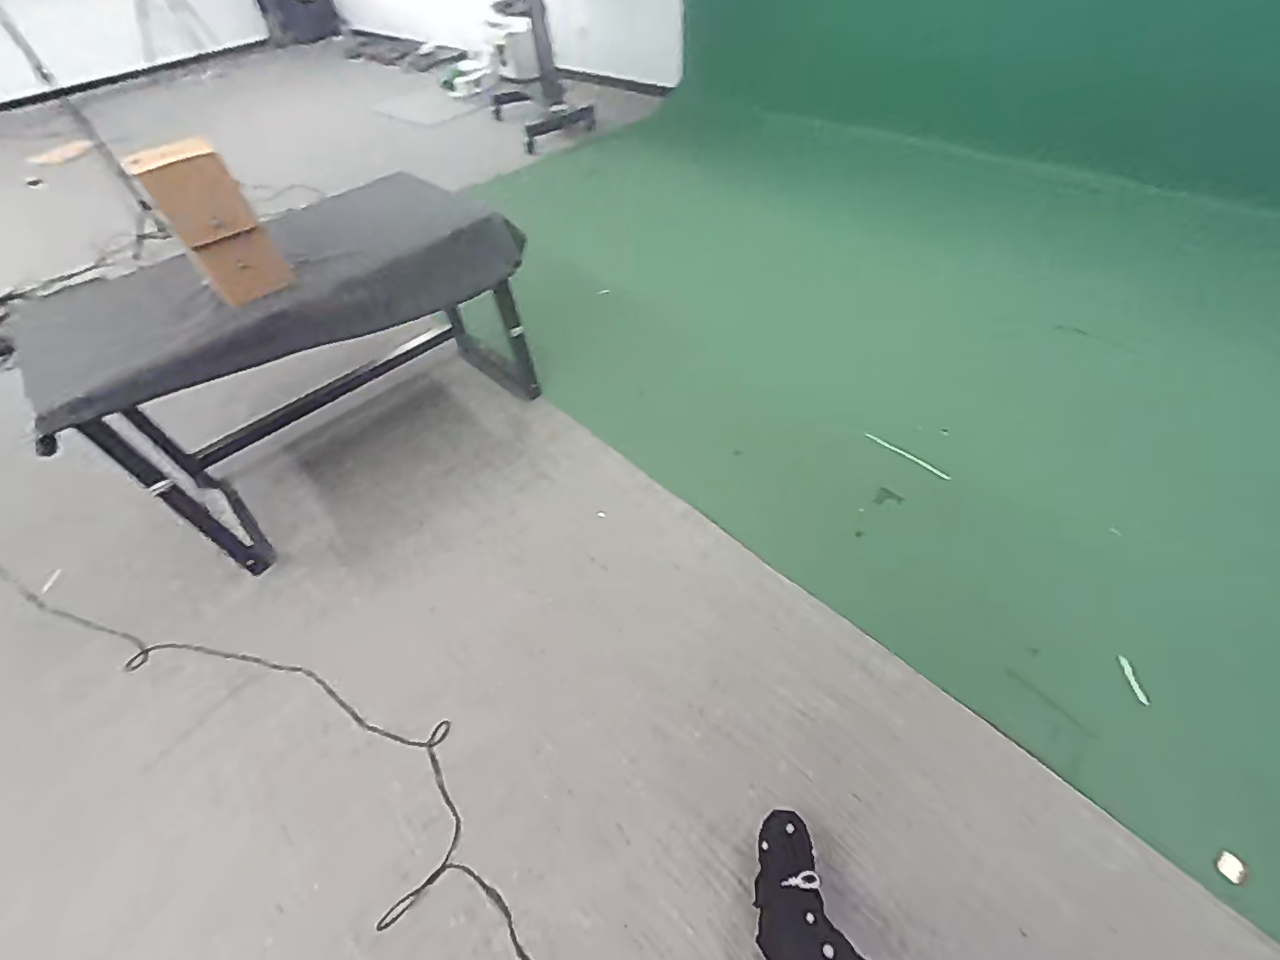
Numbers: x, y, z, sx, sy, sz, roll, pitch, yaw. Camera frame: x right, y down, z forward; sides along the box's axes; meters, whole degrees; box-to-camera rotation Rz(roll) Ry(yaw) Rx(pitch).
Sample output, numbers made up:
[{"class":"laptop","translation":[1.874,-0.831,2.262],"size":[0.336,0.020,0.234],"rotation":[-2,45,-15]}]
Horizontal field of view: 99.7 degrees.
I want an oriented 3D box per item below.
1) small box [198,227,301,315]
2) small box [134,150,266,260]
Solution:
[{"class":"small box","translation":[-1.040,-0.568,1.433],"size":[0.179,0.176,0.168],"rotation":[-38,55,-23]},{"class":"small box","translation":[-1.043,-0.661,1.301],"size":[0.179,0.176,0.168],"rotation":[-39,56,-24]}]
